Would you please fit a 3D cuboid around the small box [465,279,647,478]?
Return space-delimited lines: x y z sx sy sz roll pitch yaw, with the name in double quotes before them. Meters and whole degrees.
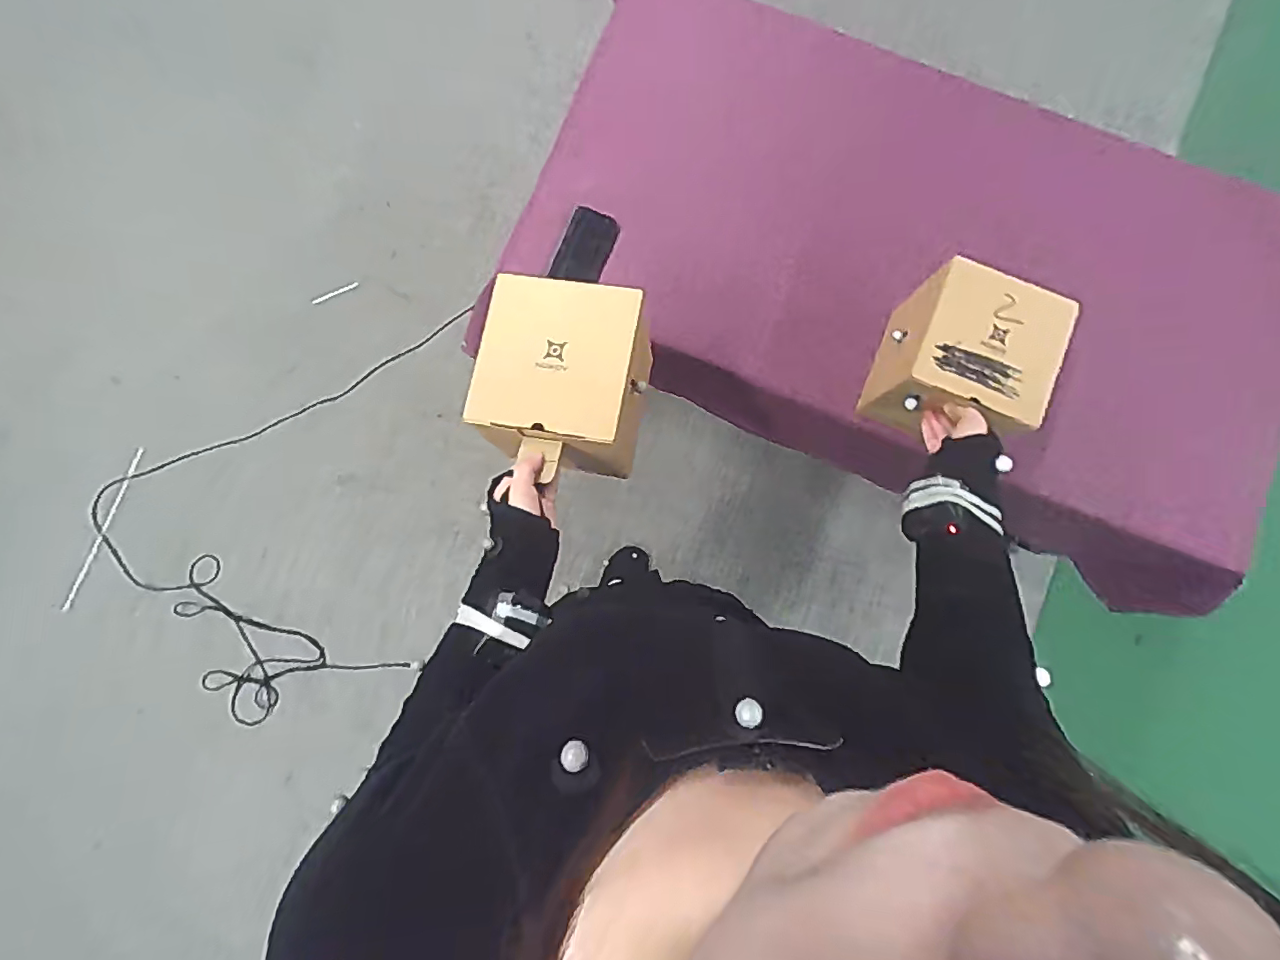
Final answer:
"small box" -0.087 -0.113 0.659 0.168 0.176 0.179 9 79 6
